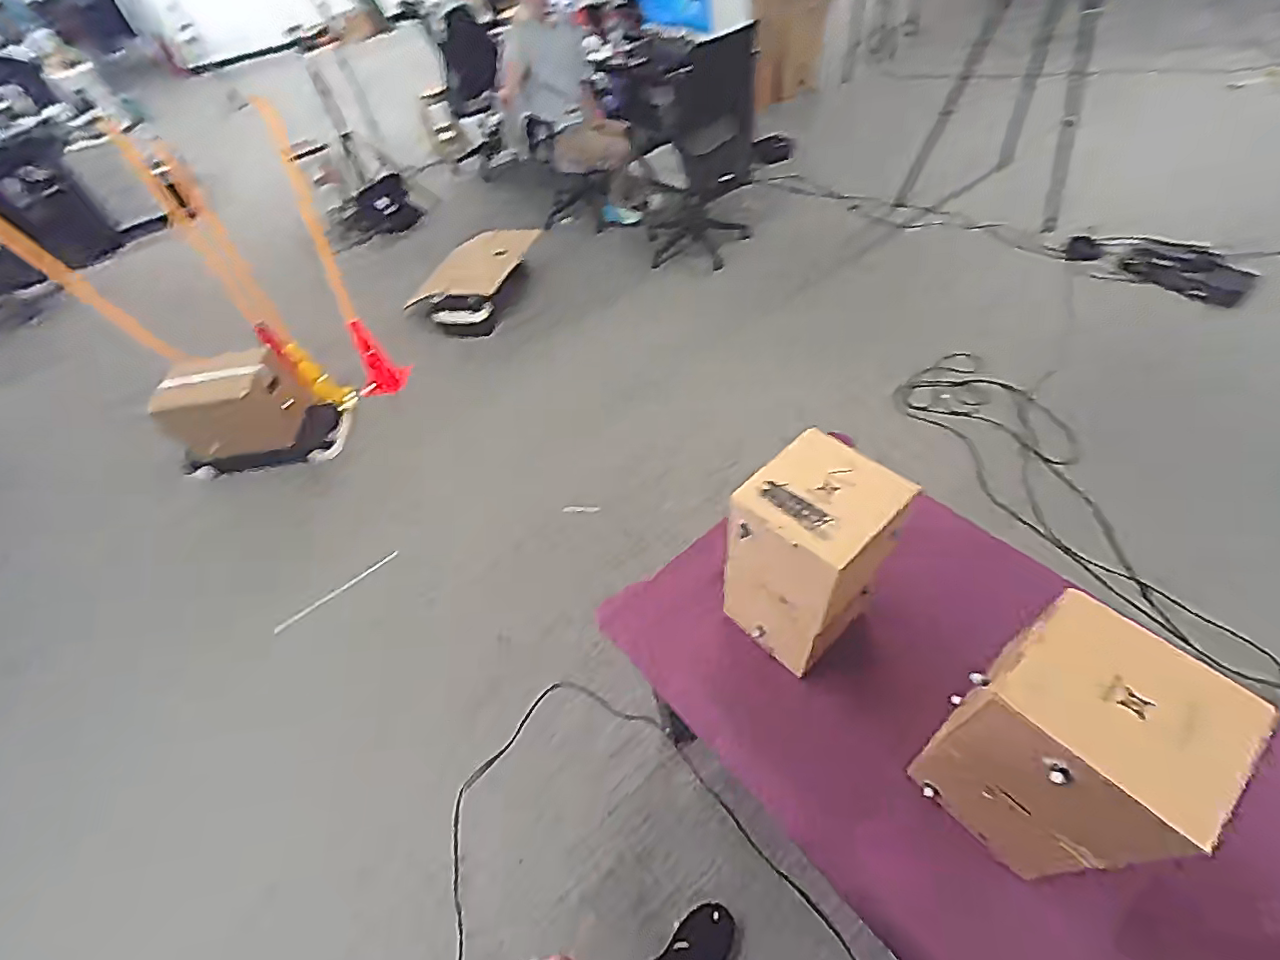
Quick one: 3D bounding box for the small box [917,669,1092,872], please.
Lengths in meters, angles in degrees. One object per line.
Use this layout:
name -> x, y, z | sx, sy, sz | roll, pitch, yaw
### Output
small box -> 0.483, 0.358, 0.688 | 0.179, 0.176, 0.168 | -35, 54, -21

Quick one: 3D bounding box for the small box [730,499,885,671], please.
small box -> 0.259, 0.171, 0.877 | 0.179, 0.176, 0.168 | -37, 54, -21

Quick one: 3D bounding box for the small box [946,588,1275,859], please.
small box -> 0.461, 0.255, 0.564 | 0.168, 0.176, 0.179 | -36, 55, -19
